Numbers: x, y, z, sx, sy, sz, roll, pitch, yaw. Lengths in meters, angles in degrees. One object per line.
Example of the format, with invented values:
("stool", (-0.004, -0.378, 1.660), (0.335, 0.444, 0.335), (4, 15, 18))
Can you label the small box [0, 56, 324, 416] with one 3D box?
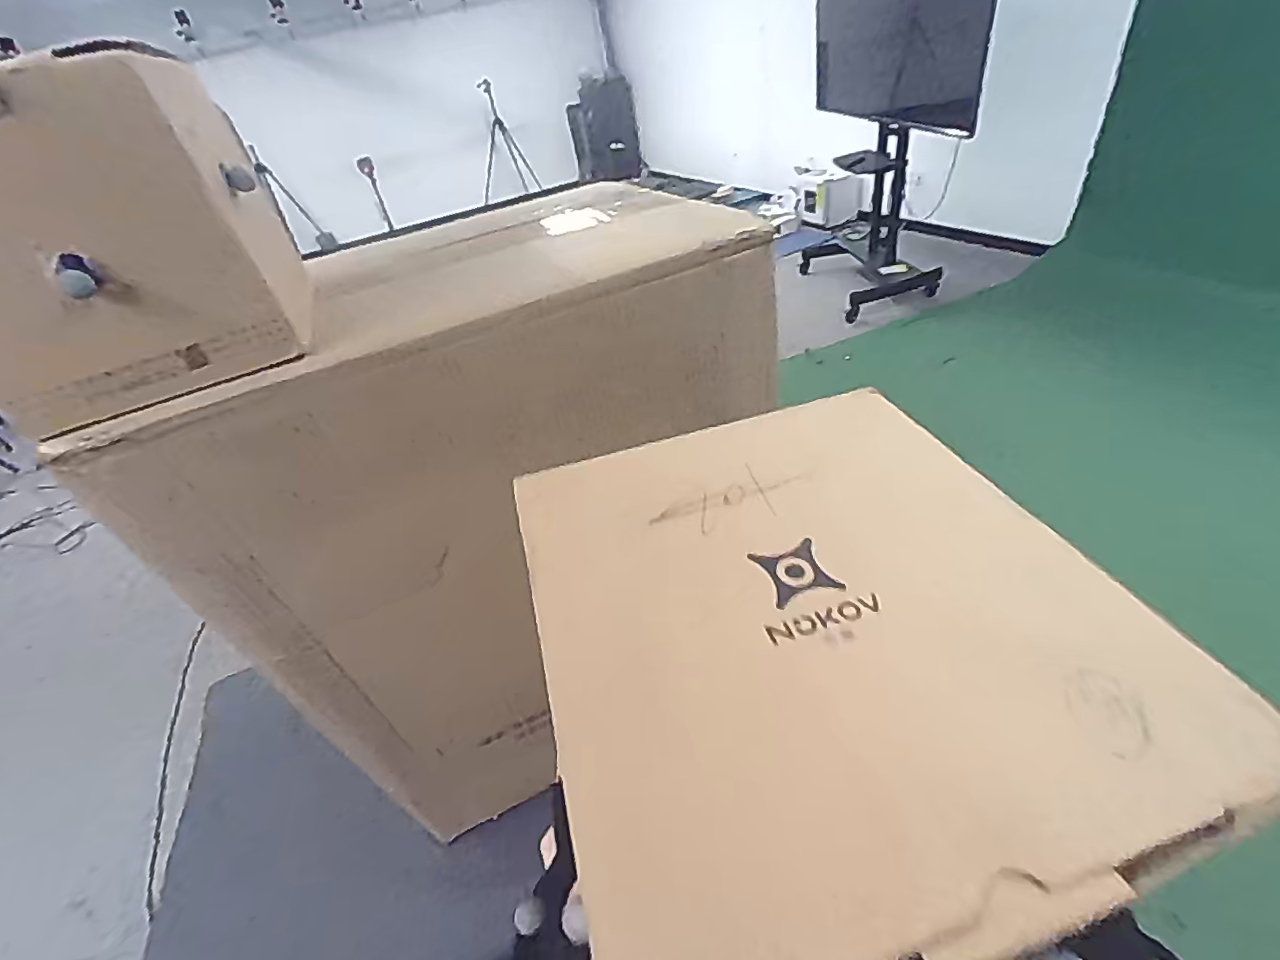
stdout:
("small box", (-0.340, -0.163, 0.366), (0.168, 0.176, 0.179), (-22, 41, -13))

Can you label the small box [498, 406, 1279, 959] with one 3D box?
("small box", (0.050, 0.099, 0.220), (0.168, 0.176, 0.179), (-14, 39, -9))
